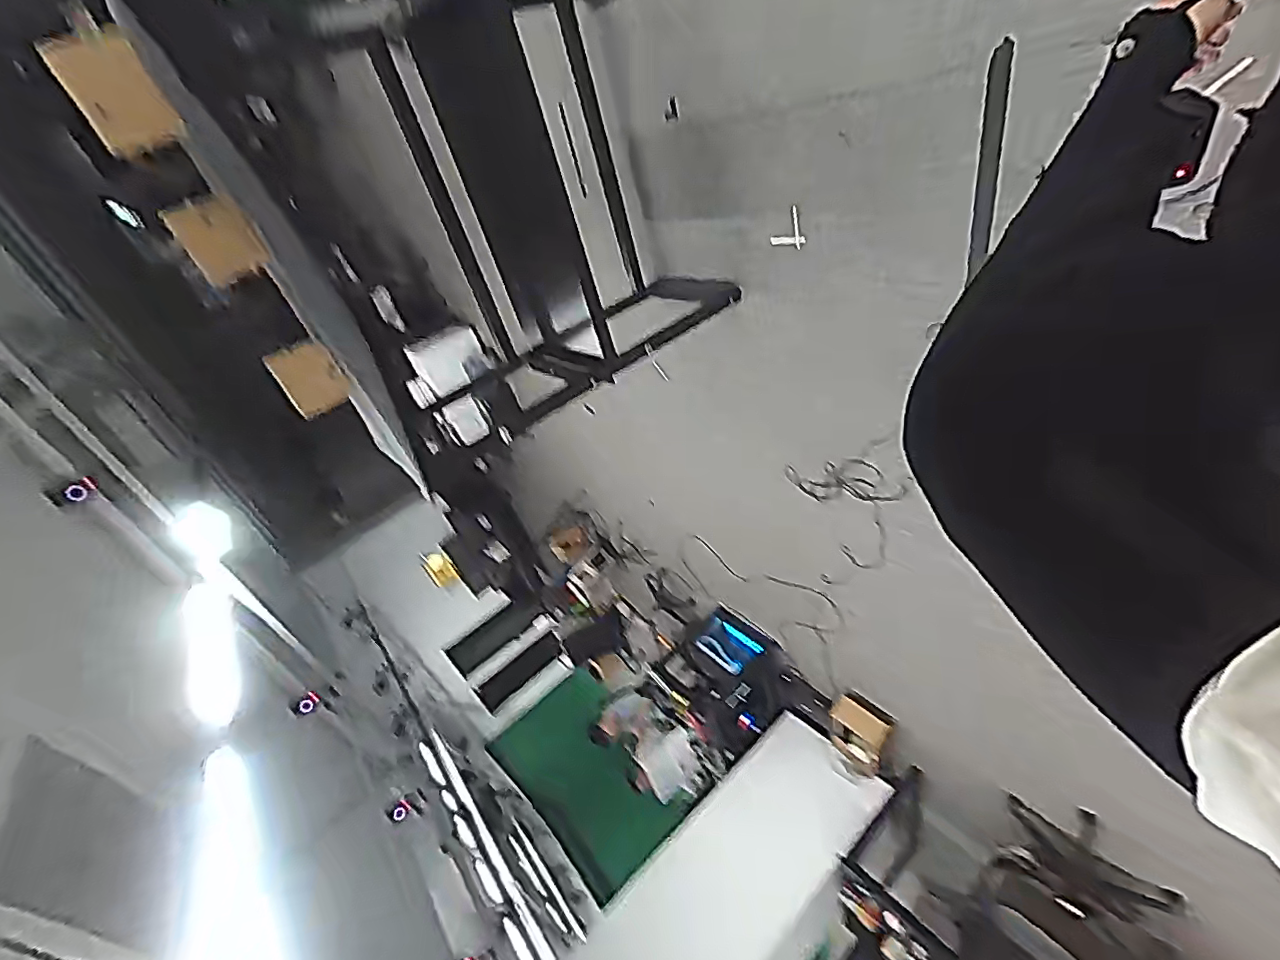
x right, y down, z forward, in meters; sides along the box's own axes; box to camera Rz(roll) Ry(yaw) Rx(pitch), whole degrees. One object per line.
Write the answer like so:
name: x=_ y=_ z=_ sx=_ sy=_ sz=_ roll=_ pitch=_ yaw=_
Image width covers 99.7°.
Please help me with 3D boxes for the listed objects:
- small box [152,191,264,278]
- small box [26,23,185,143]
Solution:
small box: x=-1.167 y=-0.670 z=1.466 sx=0.168 sy=0.176 sz=0.179 roll=30 pitch=146 yaw=44
small box: x=-1.094 y=-0.820 z=1.125 sx=0.179 sy=0.176 sz=0.168 roll=32 pitch=149 yaw=43
